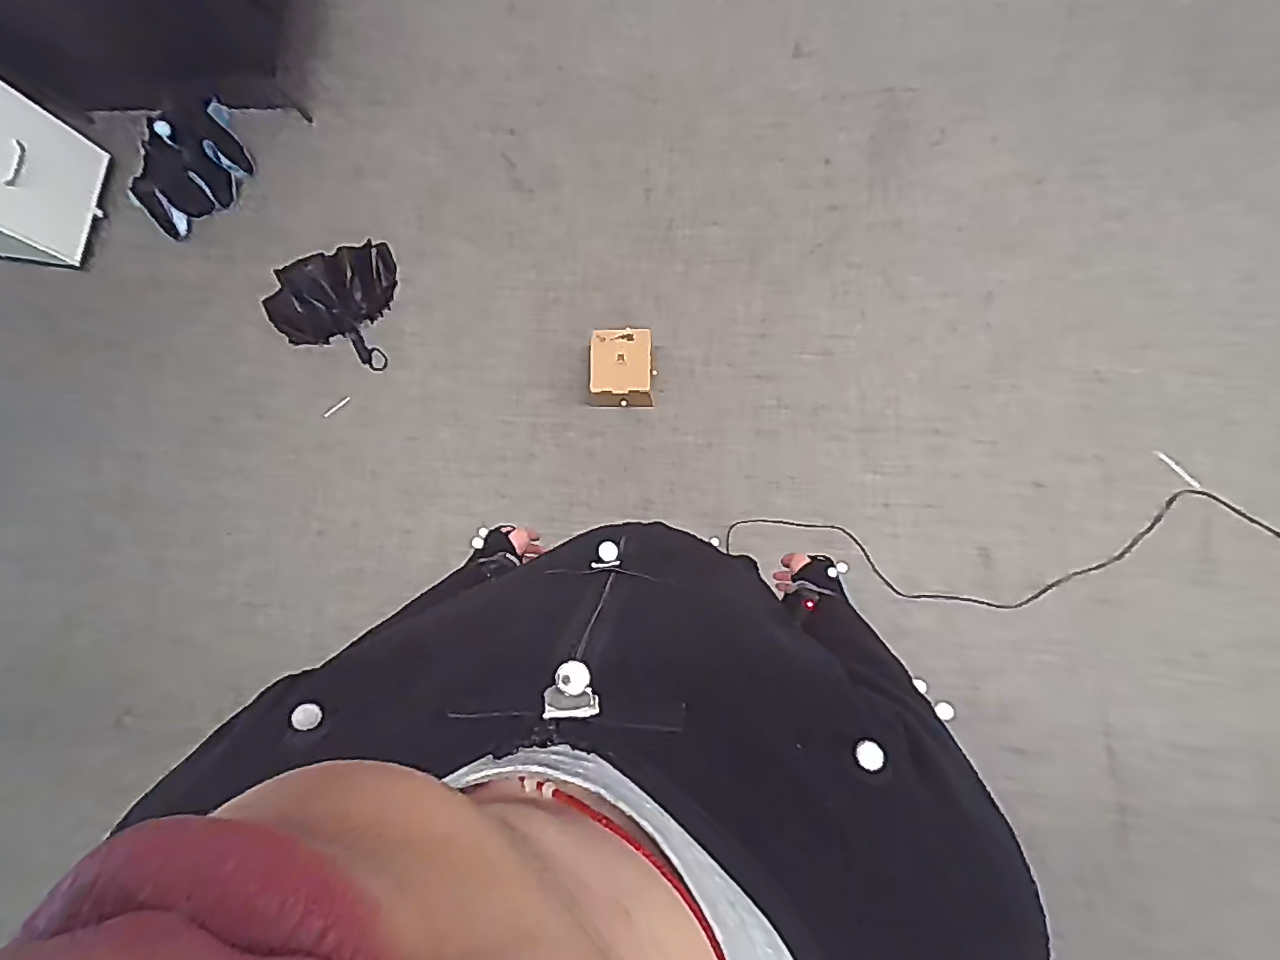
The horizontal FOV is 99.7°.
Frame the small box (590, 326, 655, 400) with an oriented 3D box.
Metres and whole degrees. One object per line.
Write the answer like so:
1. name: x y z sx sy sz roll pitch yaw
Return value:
1. small box: -0.045 -0.325 1.539 0.168 0.176 0.179 0 86 5
